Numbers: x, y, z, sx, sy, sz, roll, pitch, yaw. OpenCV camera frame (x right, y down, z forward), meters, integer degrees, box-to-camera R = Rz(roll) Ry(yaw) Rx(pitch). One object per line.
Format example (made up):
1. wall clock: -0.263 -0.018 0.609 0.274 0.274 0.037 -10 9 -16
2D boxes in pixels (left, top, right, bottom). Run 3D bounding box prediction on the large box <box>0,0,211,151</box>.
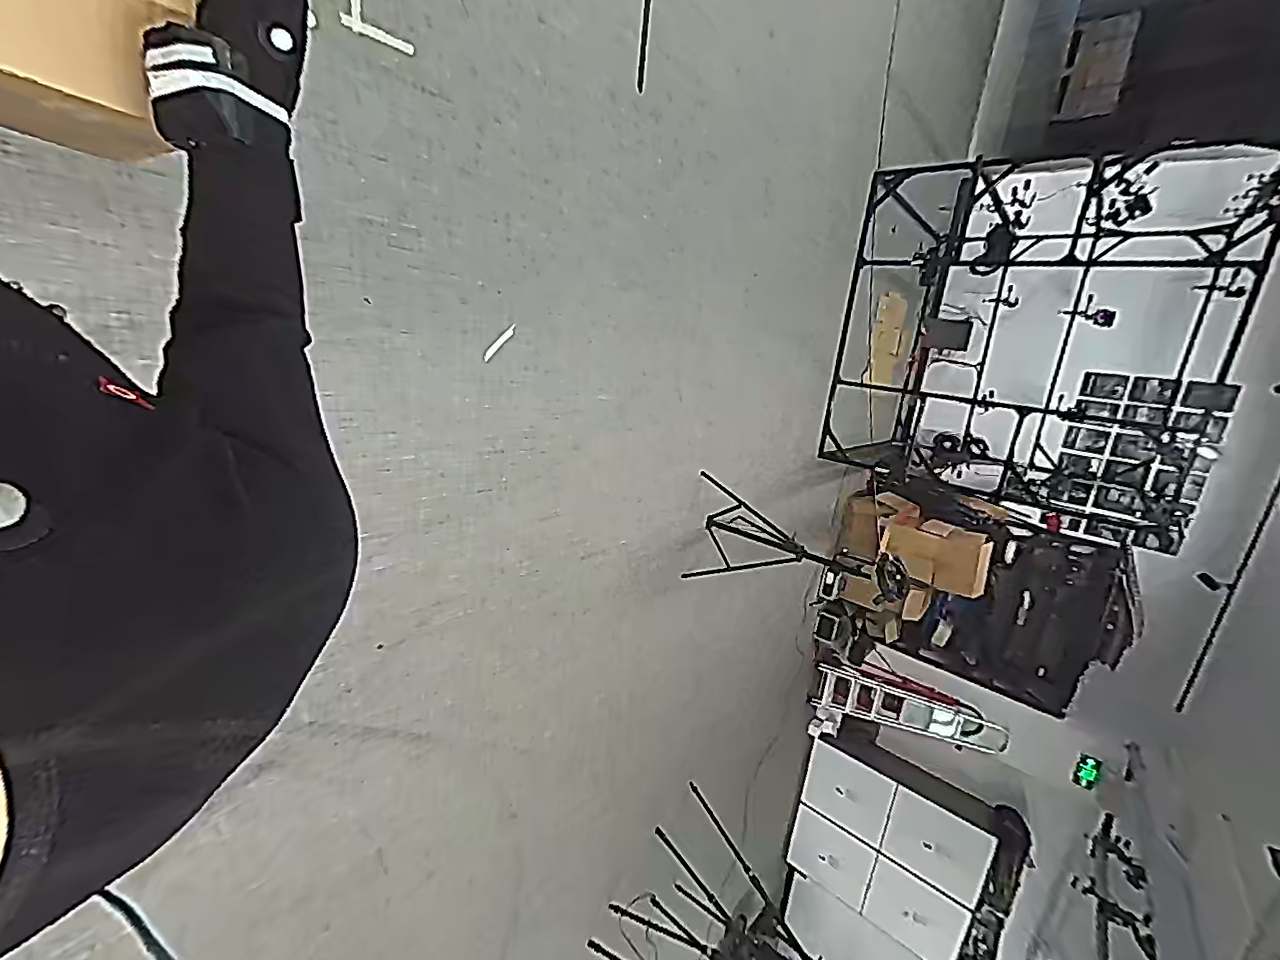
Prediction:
1. large box: -0.544 -0.447 0.315 0.408 0.320 0.320 -5 111 -53
